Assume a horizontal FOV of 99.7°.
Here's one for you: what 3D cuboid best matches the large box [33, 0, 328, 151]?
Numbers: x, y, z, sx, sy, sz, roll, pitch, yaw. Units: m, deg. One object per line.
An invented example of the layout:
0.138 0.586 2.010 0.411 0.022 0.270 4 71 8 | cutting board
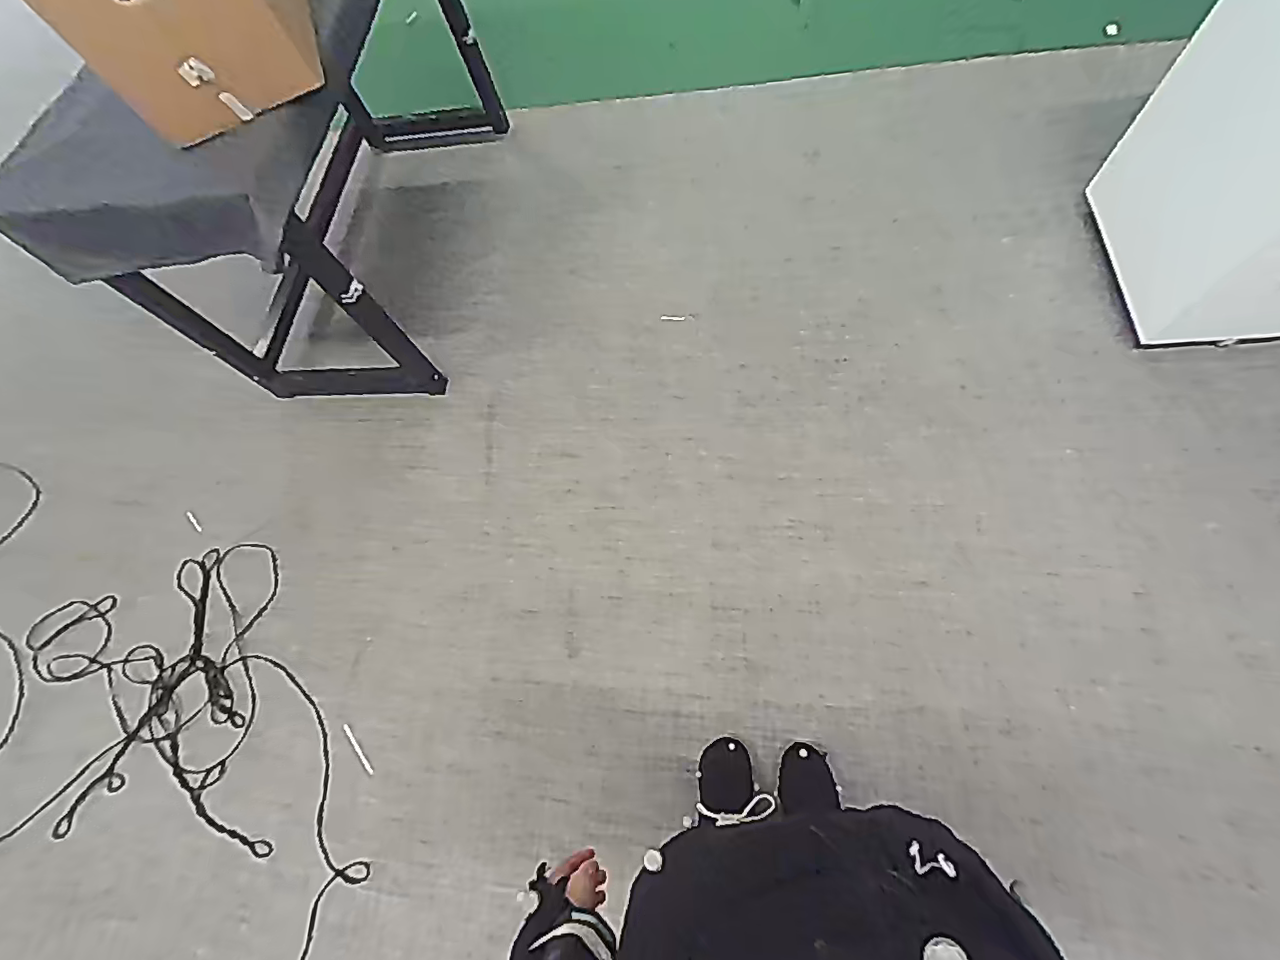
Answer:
-0.820 -0.894 0.968 0.320 0.320 0.408 -23 64 0 | large box
